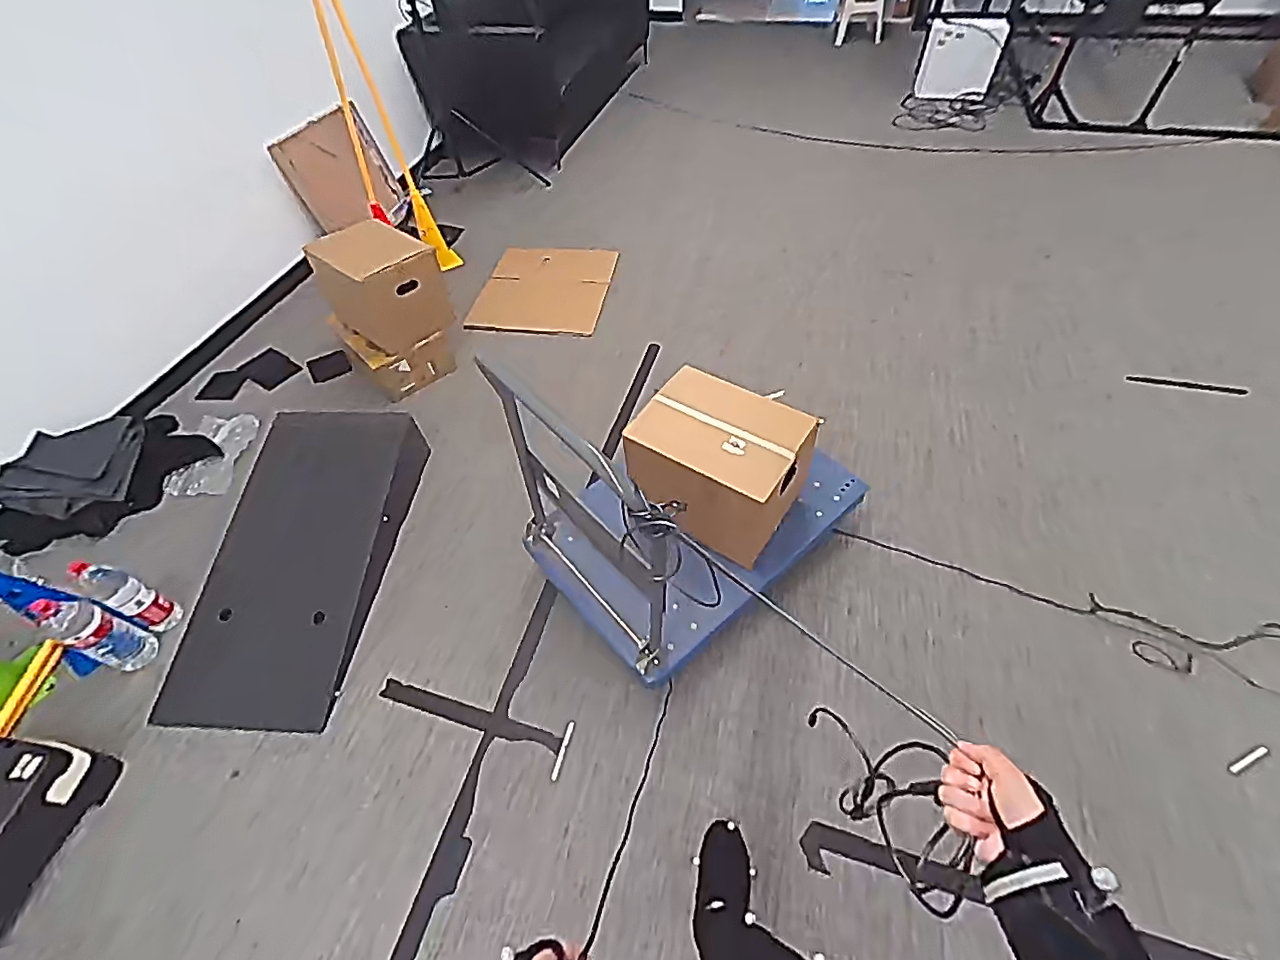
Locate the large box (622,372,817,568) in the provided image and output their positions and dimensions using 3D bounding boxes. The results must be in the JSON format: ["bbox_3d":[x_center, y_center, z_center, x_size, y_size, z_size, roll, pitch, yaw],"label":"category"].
[{"bbox_3d":[0.204,-0.032,1.478,0.408,0.320,0.320,27,59,22],"label":"large box"}]
